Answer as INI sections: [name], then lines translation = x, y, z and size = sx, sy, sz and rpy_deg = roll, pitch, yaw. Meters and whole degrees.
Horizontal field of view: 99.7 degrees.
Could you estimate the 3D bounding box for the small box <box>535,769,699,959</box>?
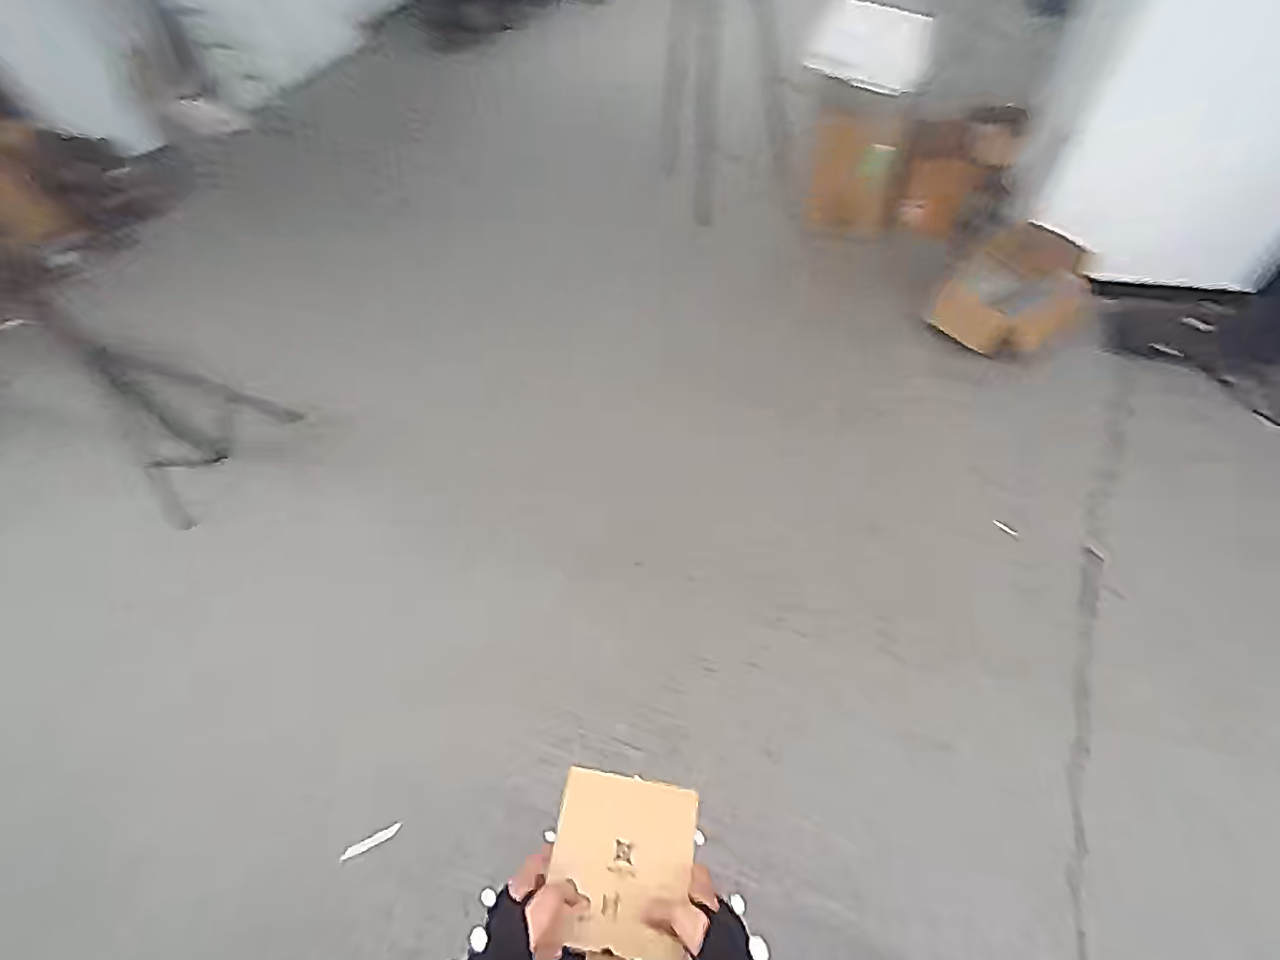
[small box]
translation = -0.026, 0.495, 0.691
size = 0.168, 0.176, 0.179
rpy_deg = 10, 53, 4
